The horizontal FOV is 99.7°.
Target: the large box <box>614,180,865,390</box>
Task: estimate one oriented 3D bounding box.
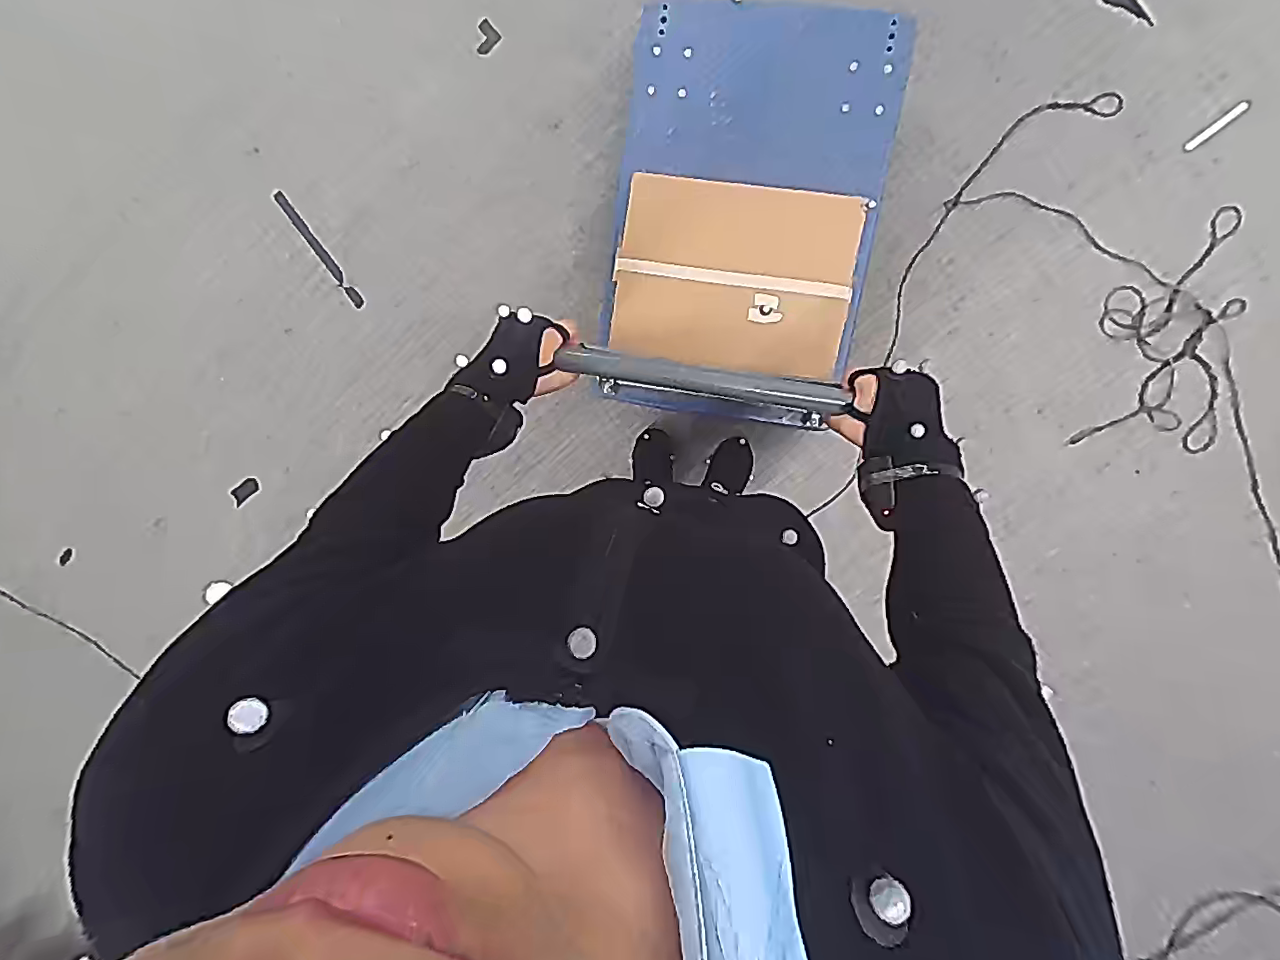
[{"bbox_3d":[0.181,-0.368,1.099,0.408,0.320,0.320,10,99,5],"label":"large box"}]
